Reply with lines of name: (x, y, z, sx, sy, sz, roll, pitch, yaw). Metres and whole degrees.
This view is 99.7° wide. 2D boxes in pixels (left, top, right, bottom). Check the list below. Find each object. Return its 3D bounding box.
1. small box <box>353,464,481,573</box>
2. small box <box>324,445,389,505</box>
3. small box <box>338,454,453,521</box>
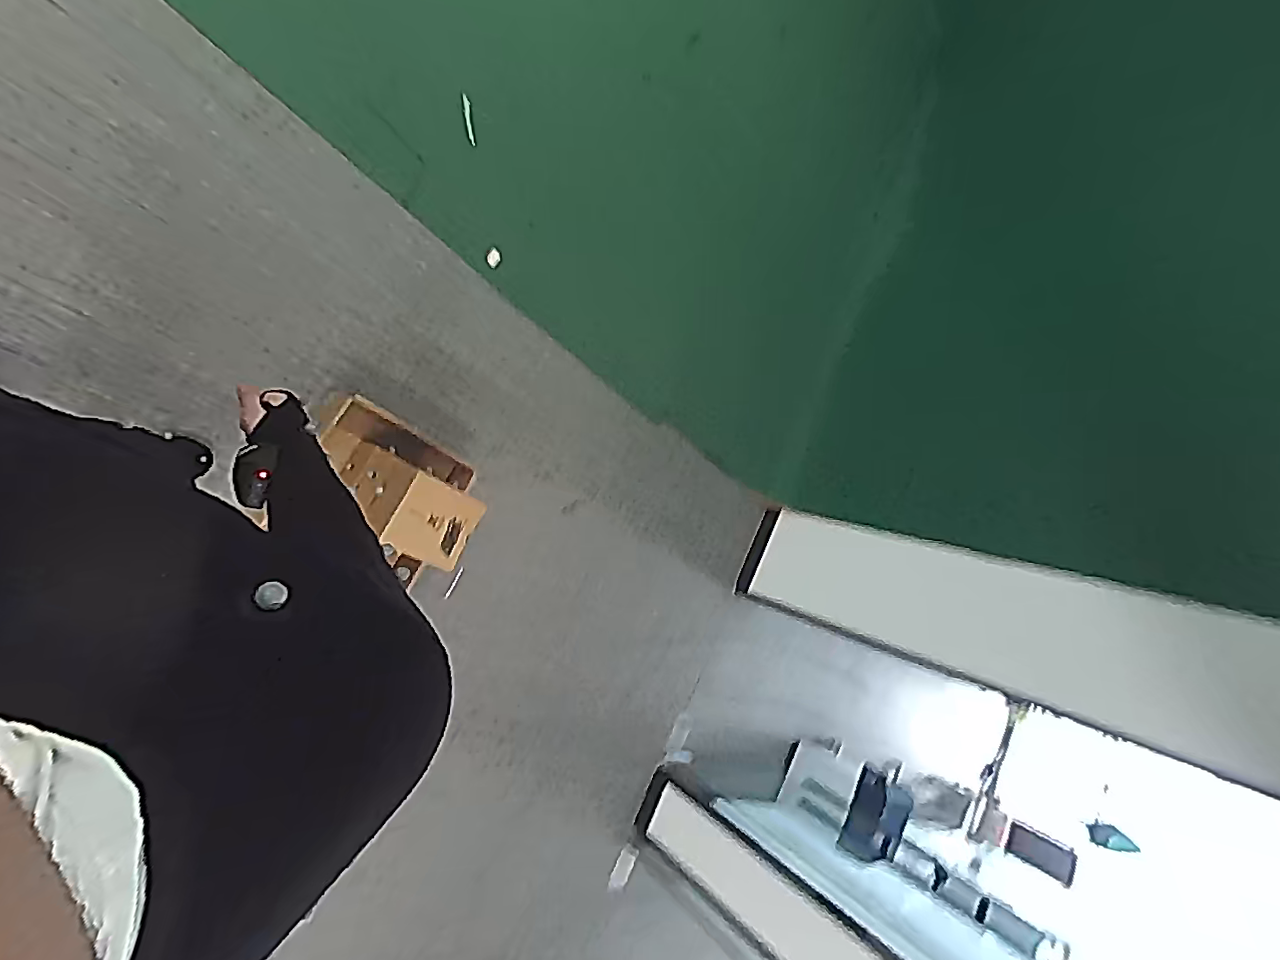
small box: (-0.491, 0.079, 1.189, 0.179, 0.176, 0.168, 37, 75, -39)
small box: (-0.699, 0.018, 1.431, 0.179, 0.176, 0.168, 38, 75, -40)
small box: (-0.596, 0.048, 1.311, 0.179, 0.176, 0.168, 37, 75, -40)
